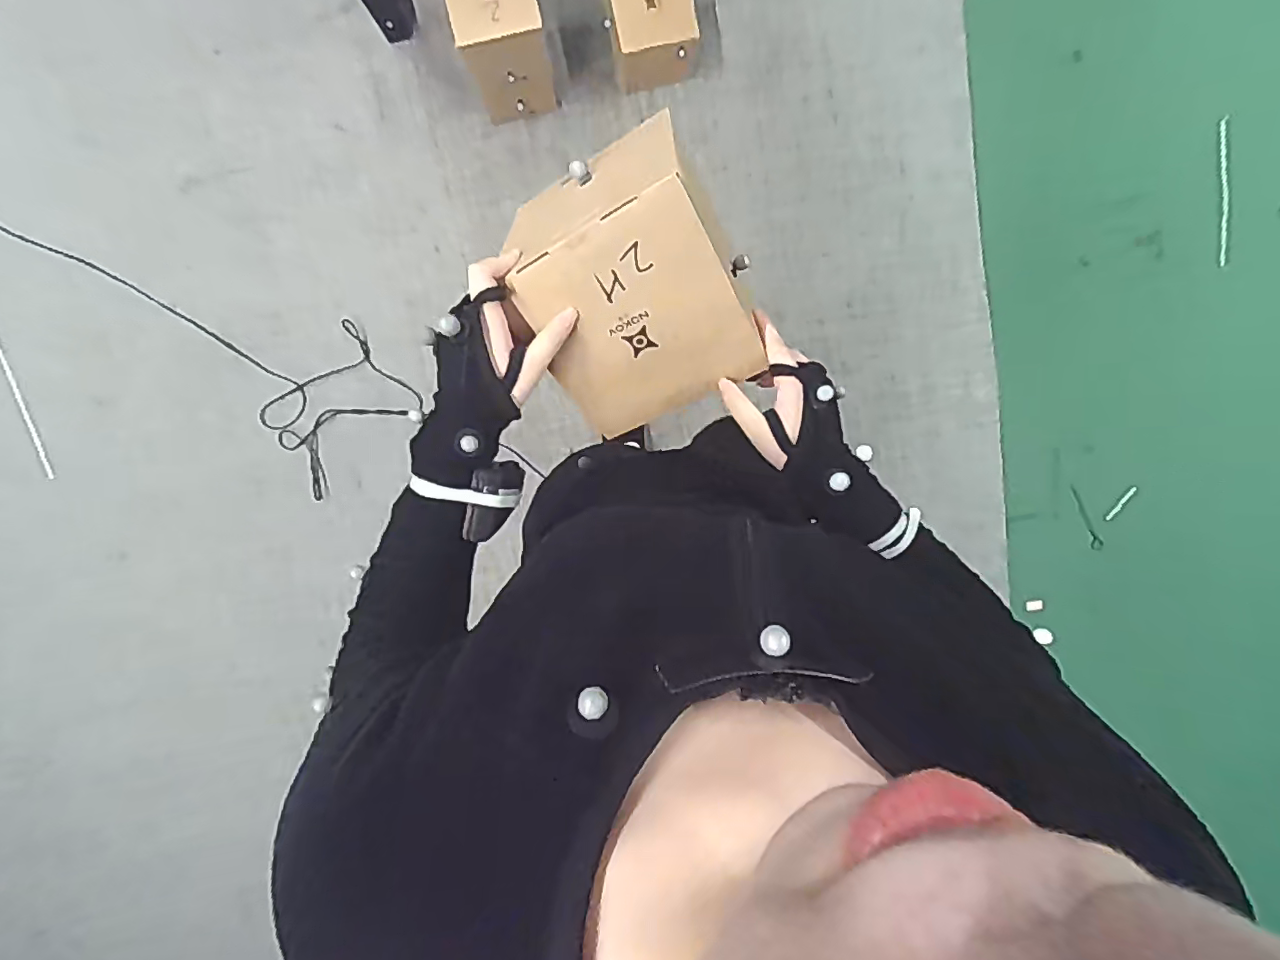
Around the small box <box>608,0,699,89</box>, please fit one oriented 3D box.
[{"bbox_3d":[0.026,-1.032,1.230,0.179,0.176,0.168,-14,101,0],"label":"small box"}]
